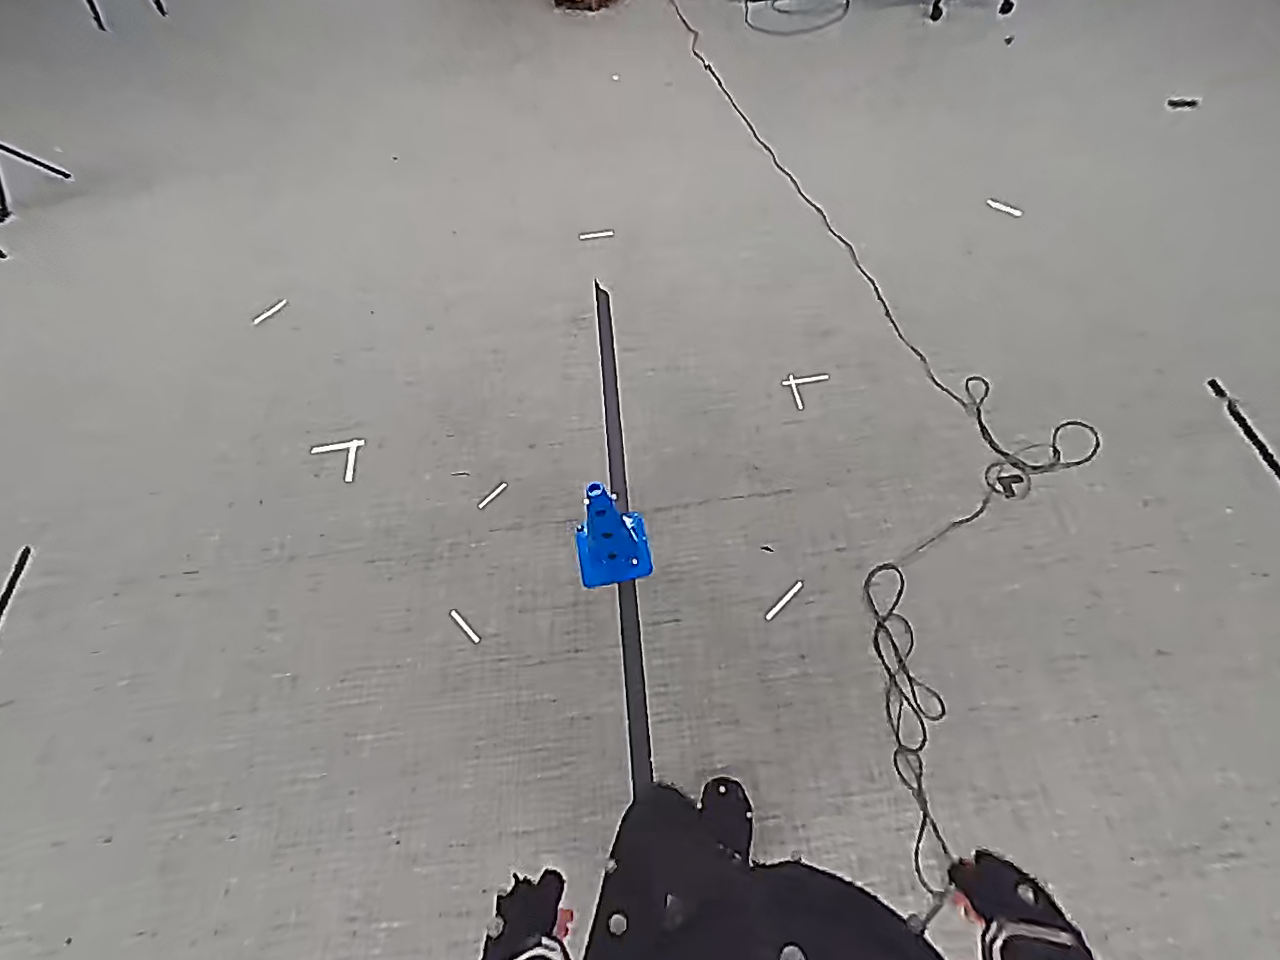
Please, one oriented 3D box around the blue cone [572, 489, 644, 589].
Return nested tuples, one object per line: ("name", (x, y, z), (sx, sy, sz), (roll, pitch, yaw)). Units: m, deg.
("blue cone", (-0.106, 0.124, 1.392), (0.192, 0.380, 0.193), (-11, 60, 0))
